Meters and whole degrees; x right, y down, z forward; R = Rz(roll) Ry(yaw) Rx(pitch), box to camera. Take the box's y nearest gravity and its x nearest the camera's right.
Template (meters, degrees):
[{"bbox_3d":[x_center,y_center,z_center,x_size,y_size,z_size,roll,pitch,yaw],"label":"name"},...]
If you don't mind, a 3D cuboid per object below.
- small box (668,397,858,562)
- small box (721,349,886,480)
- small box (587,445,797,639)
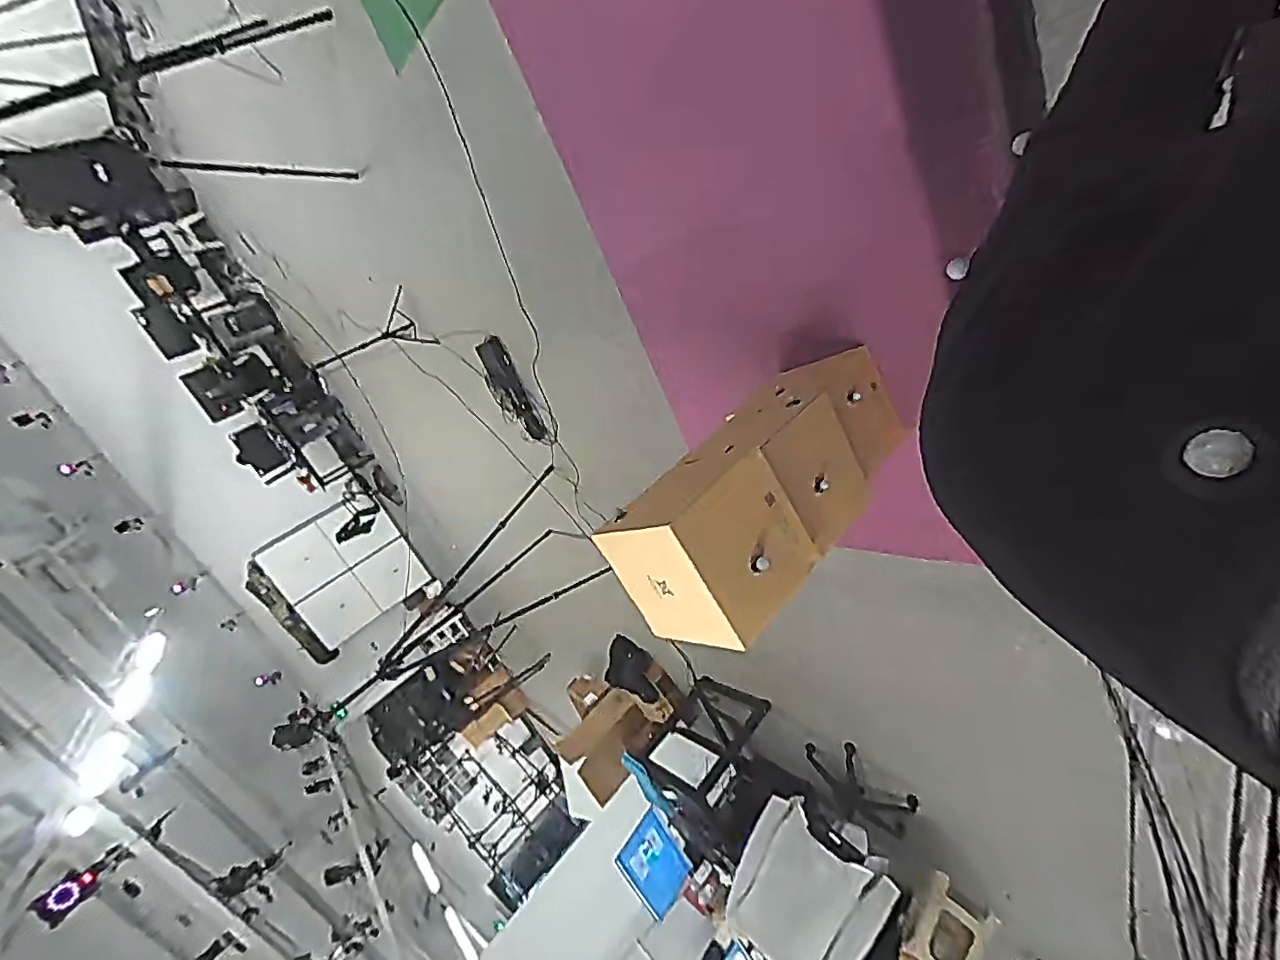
[{"bbox_3d":[0.178,-0.004,0.775,0.168,0.176,0.179,-8,115,55],"label":"small box"},{"bbox_3d":[0.272,-0.093,0.879,0.179,0.176,0.168,-7,115,56],"label":"small box"},{"bbox_3d":[0.071,0.073,0.680,0.179,0.176,0.168,-15,109,57],"label":"small box"}]
